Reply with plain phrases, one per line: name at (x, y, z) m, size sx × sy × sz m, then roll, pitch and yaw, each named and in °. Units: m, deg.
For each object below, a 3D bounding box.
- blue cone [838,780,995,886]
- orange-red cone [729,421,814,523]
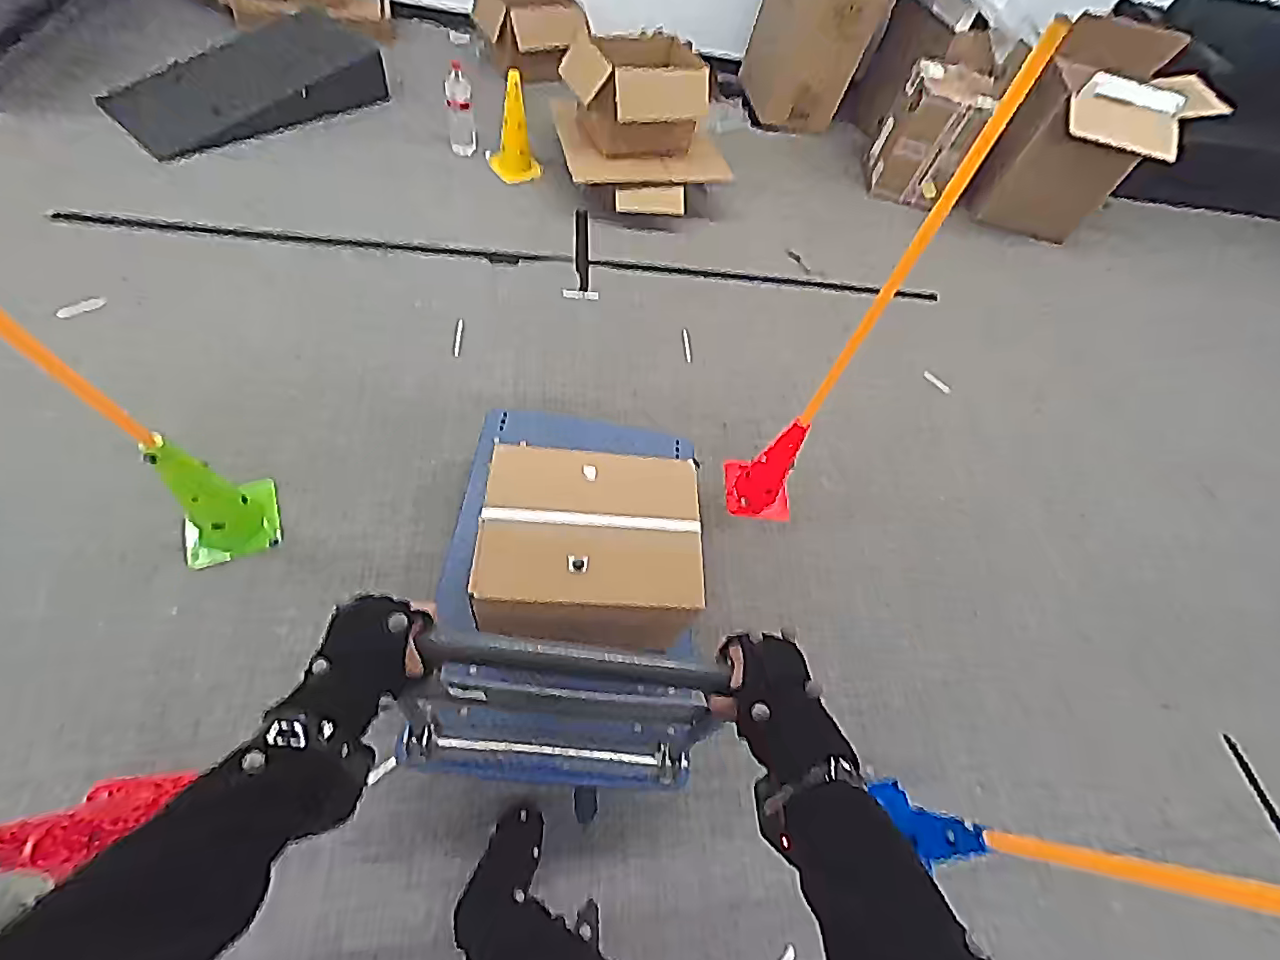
blue cone at (0.596, 0.731, 1.122) m, size 0.193 × 0.380 × 0.192 m, roll -2°, pitch 58°, yaw -13°
orange-red cone at (0.407, -0.050, 1.552) m, size 0.199 × 0.360 × 0.198 m, roll 8°, pitch 58°, yaw -8°
